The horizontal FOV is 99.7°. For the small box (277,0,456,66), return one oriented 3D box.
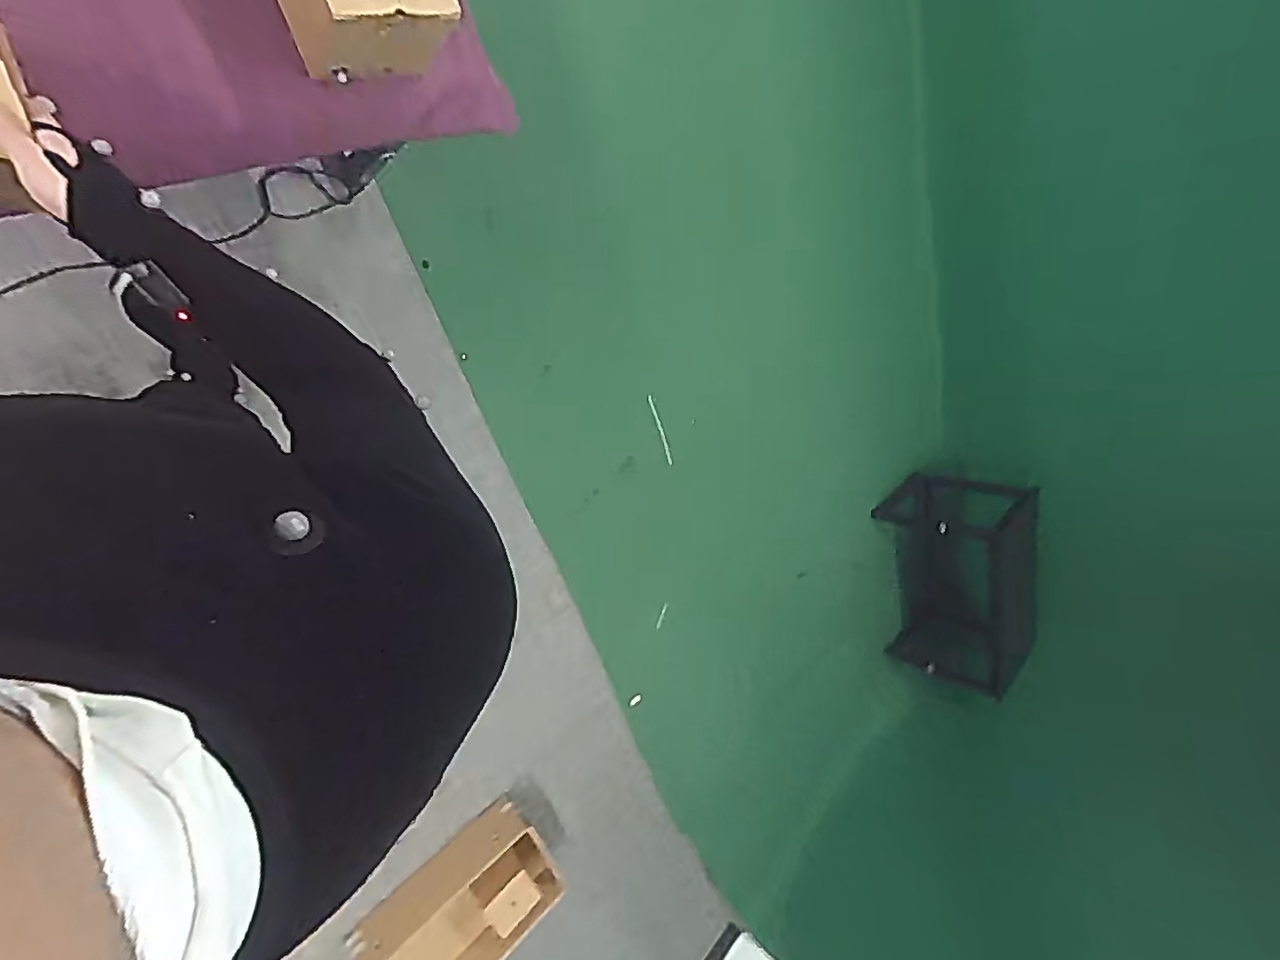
[{"bbox_3d":[-0.366,-0.656,0.684,0.168,0.176,0.179,-31,116,-31],"label":"small box"}]

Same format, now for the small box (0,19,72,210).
[{"bbox_3d":[-0.641,-0.347,0.462,0.168,0.176,0.179,-21,112,-35],"label":"small box"}]
